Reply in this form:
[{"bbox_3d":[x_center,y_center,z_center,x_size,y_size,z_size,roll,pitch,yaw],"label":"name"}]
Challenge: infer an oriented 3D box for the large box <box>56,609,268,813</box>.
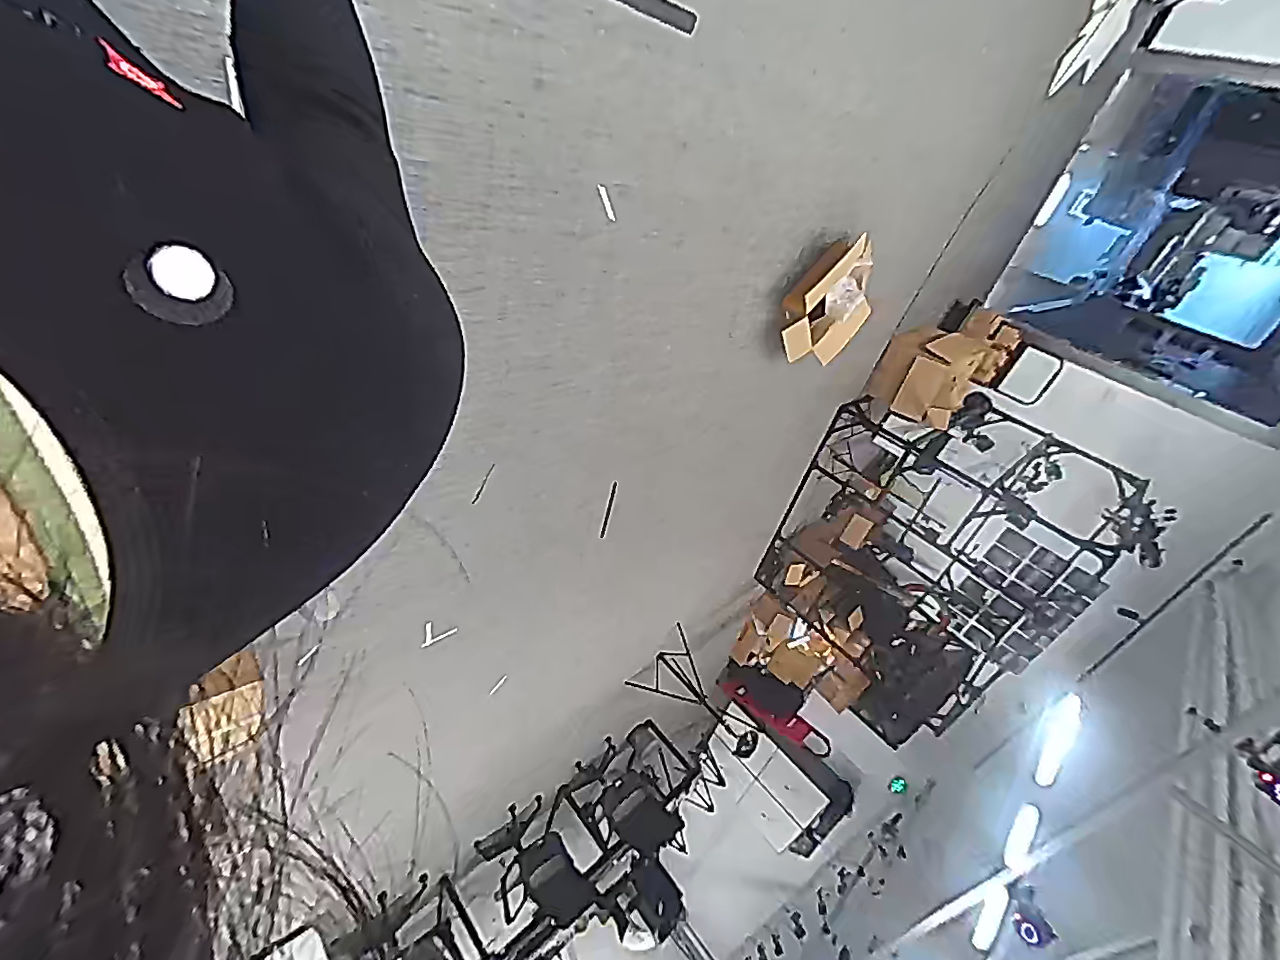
[{"bbox_3d":[-1.359,0.639,1.566,0.408,0.320,0.320,-13,133,-47],"label":"large box"}]
